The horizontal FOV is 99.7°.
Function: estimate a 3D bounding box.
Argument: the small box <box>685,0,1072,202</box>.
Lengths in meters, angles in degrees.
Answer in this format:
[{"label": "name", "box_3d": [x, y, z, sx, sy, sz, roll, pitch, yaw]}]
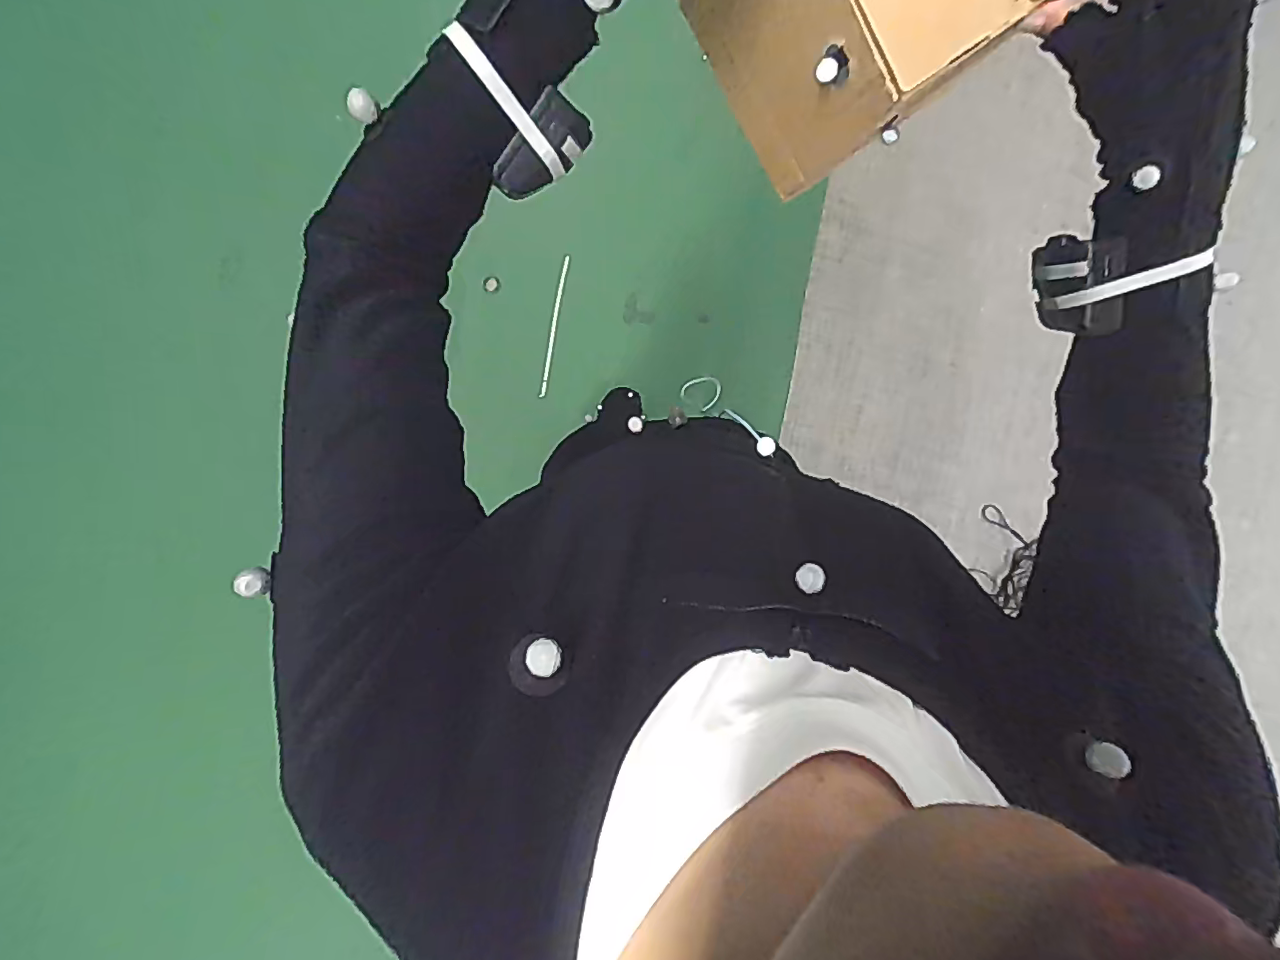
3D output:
[{"label": "small box", "box_3d": [0.151, -0.335, 0.374, 0.168, 0.176, 0.179, -34, 101, -1]}]
